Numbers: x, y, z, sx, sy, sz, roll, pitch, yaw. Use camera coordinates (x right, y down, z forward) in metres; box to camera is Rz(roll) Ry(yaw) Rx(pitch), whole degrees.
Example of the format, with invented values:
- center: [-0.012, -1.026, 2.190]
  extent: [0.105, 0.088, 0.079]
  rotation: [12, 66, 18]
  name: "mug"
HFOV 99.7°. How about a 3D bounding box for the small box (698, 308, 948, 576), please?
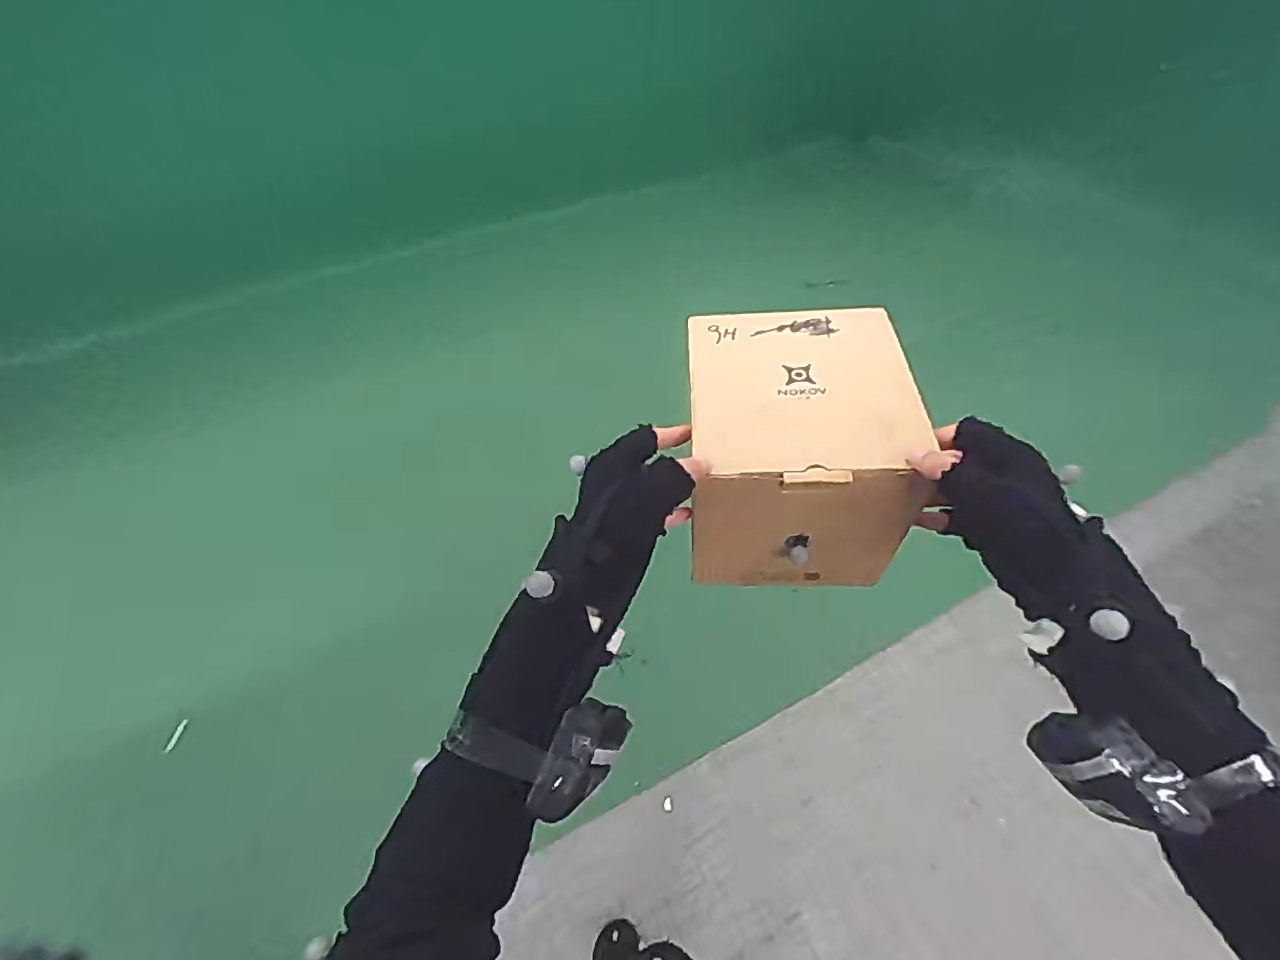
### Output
- center: [0.136, -0.026, 0.477]
  extent: [0.168, 0.176, 0.179]
  rotation: [-1, 54, 5]
  name: "small box"
